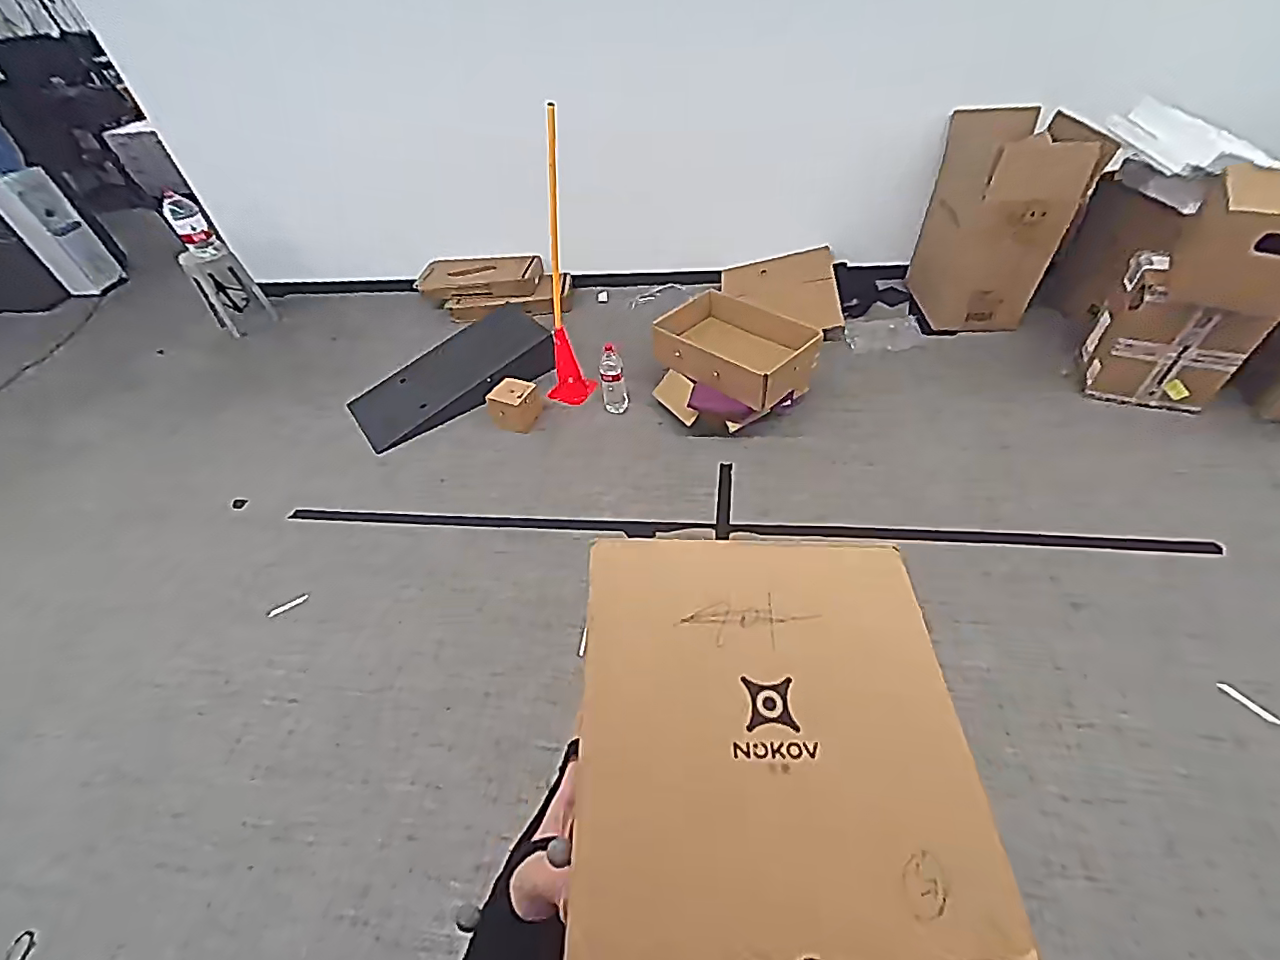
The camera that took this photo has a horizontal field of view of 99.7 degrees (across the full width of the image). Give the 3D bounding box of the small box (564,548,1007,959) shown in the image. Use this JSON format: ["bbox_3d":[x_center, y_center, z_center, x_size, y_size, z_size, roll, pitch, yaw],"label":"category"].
[{"bbox_3d":[0.050,0.157,0.308,0.168,0.176,0.179,2,51,-3],"label":"small box"}]
